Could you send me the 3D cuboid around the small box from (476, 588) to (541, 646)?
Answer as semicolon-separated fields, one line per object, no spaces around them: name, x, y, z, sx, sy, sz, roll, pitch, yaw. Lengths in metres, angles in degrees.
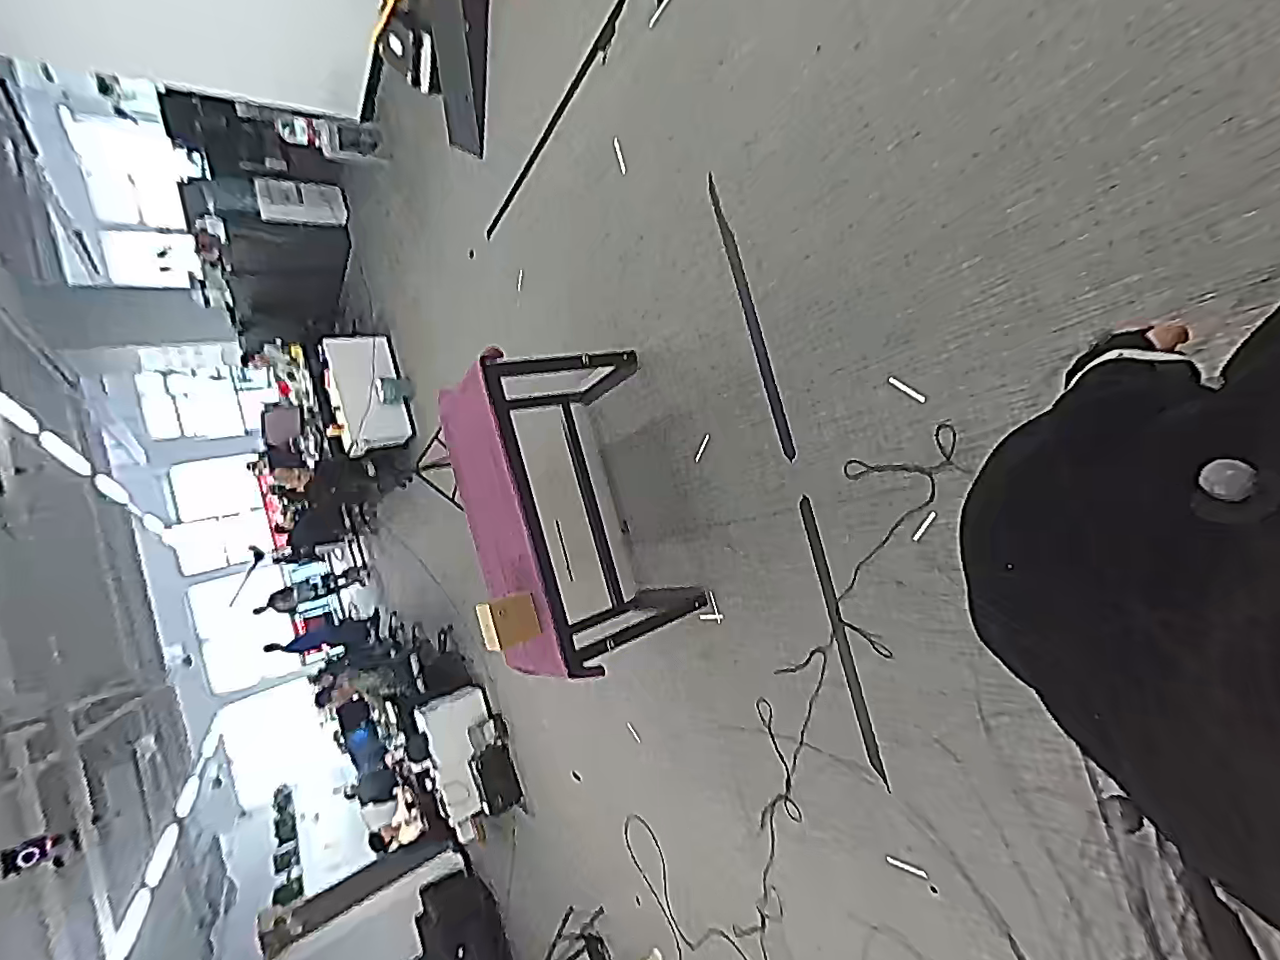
small box;-0.500;0.514;2.051;0.168;0.176;0.179;-23;83;55
